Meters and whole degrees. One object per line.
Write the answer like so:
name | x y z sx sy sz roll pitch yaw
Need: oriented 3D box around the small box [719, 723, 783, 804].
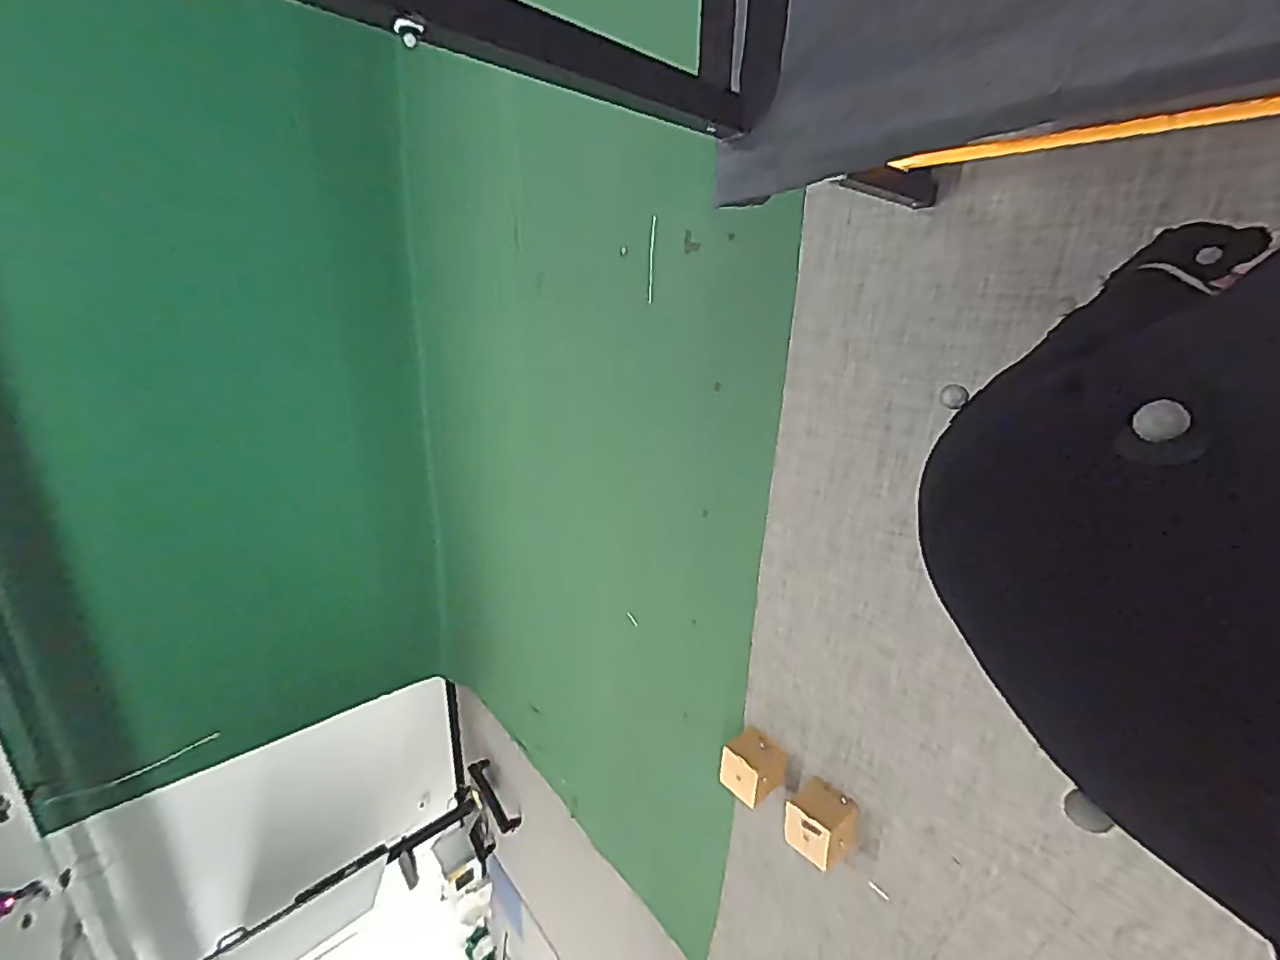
small box | 0.424 1.072 2.059 0.168 0.176 0.179 21 116 44

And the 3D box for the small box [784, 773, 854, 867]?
small box | 0.616 1.155 1.854 0.168 0.176 0.179 17 114 47
